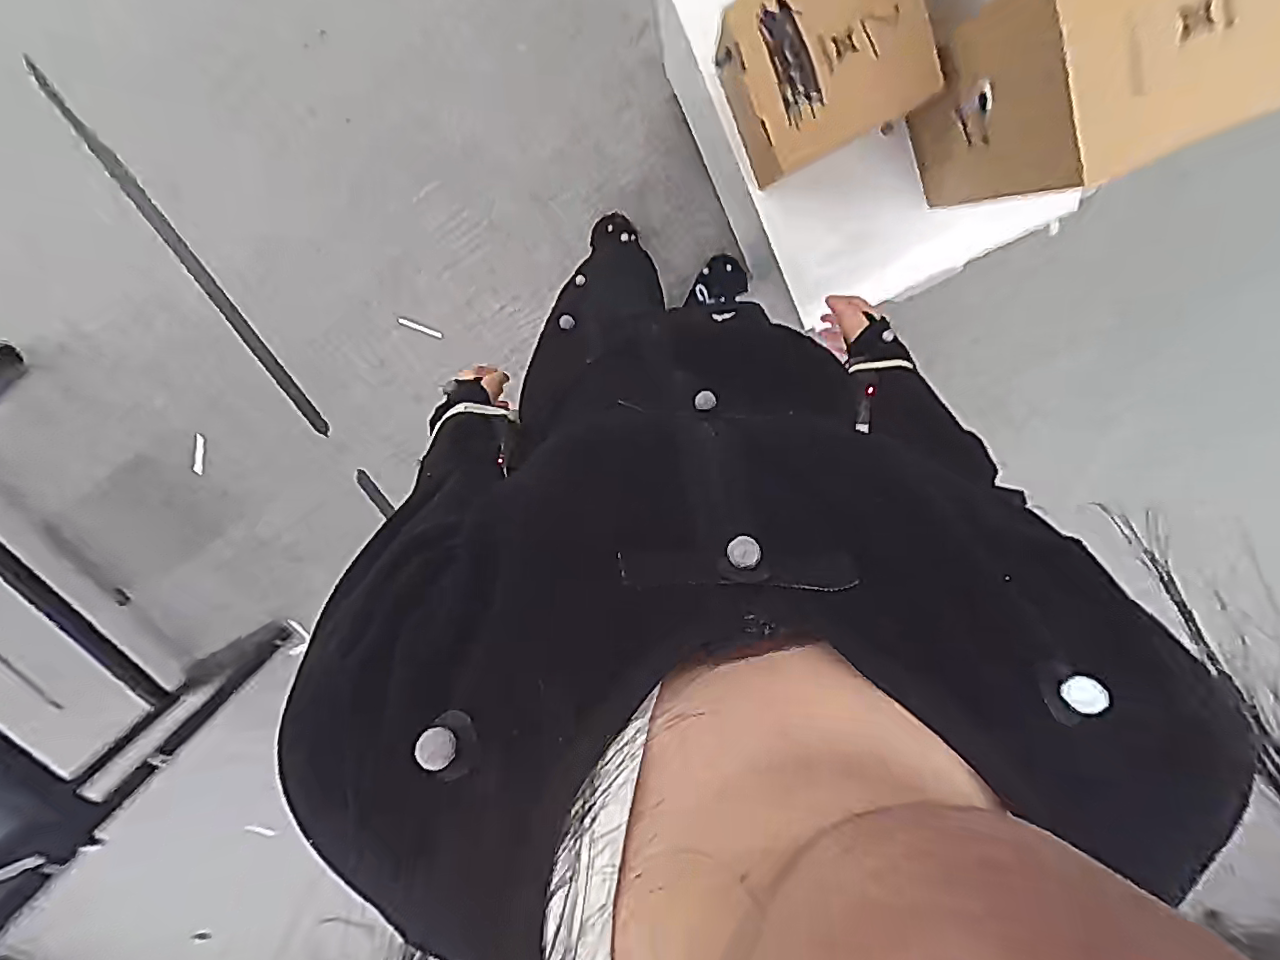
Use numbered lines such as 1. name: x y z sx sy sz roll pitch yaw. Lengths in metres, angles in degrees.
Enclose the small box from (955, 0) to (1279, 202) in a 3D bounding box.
1. small box: 0.407 -0.360 0.458 0.179 0.176 0.168 -21 109 16
